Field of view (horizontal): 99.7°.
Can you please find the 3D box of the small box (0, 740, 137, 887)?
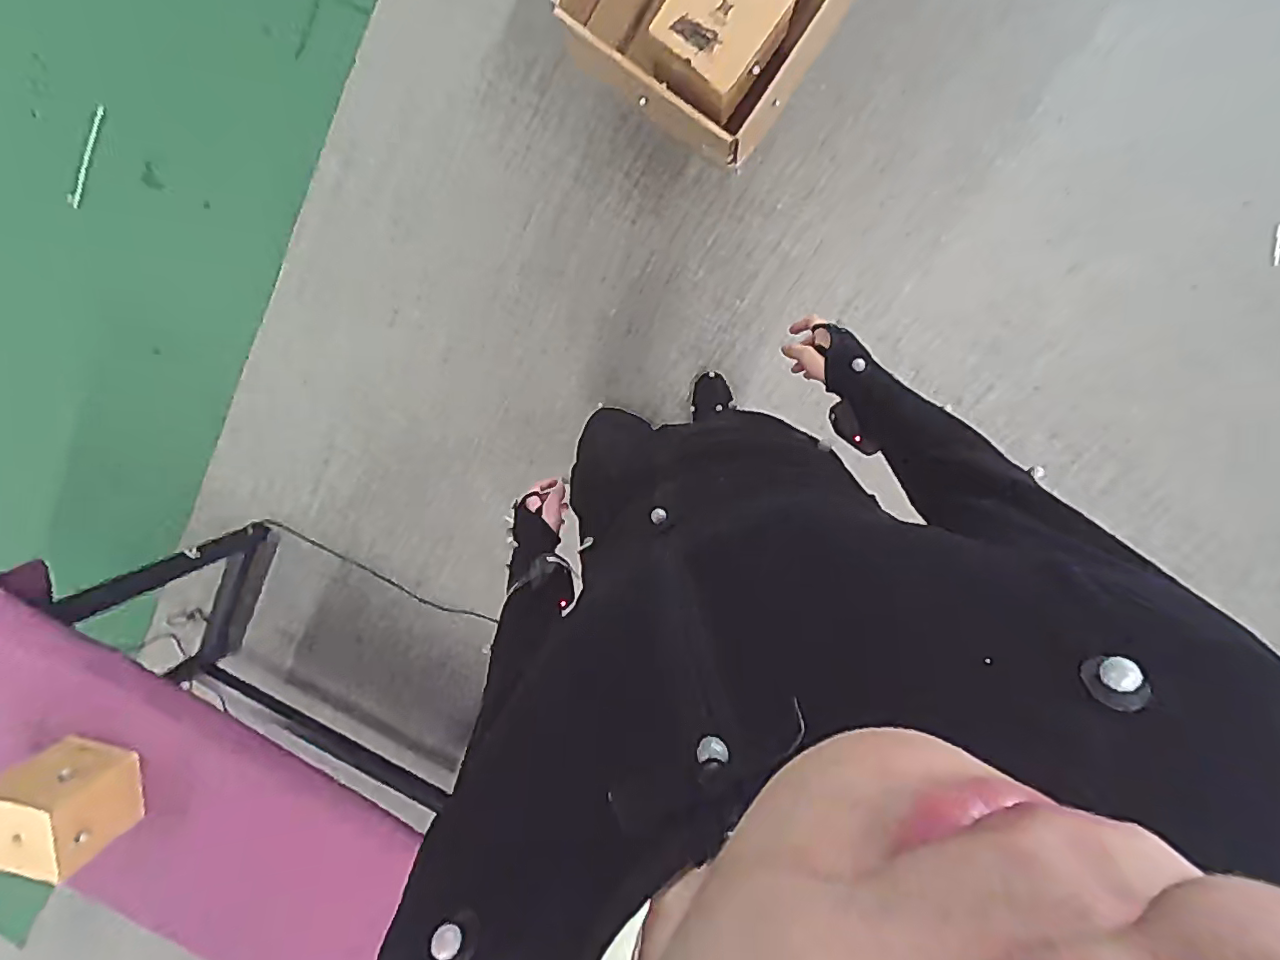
[{"bbox_3d":[-1.175,0.663,1.093,0.168,0.176,0.179,10,105,3],"label":"small box"}]
